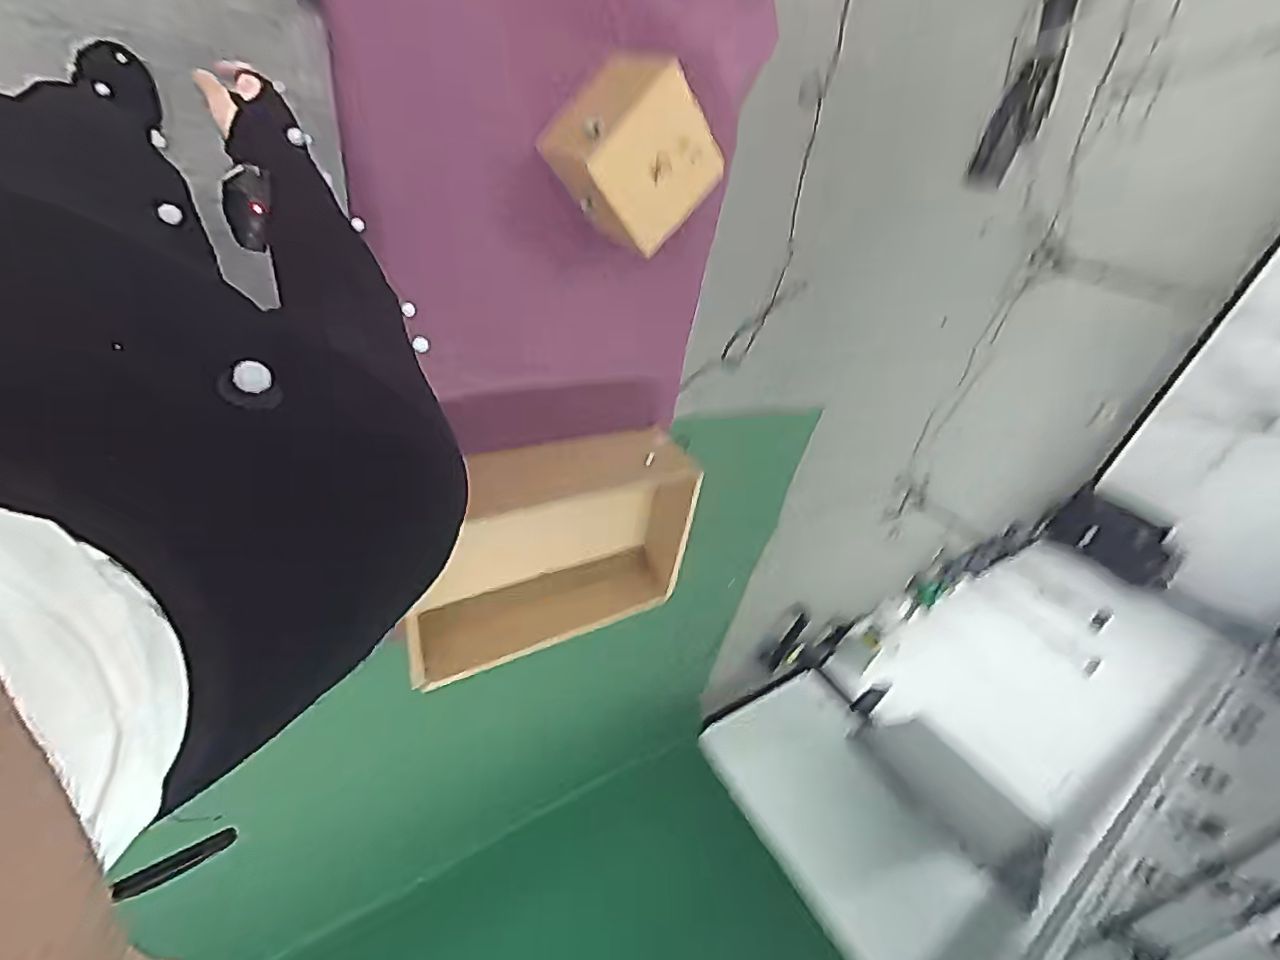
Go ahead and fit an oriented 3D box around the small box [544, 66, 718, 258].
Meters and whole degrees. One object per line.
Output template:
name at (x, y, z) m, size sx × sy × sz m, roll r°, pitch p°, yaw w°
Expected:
small box at (-0.022, -0.477, 0.812) m, size 0.179 × 0.176 × 0.168 m, roll -47°, pitch 141°, yaw 3°
